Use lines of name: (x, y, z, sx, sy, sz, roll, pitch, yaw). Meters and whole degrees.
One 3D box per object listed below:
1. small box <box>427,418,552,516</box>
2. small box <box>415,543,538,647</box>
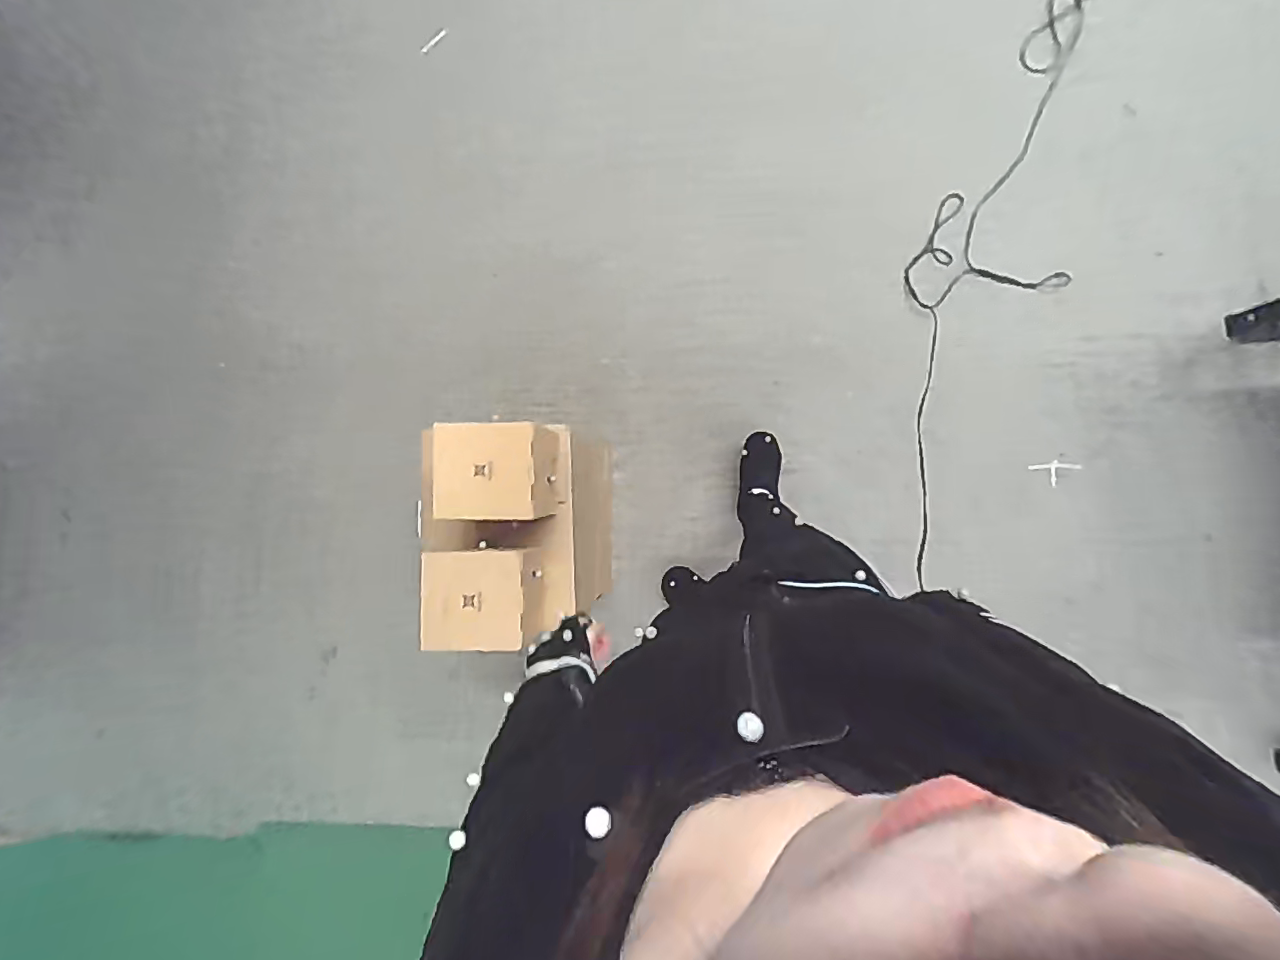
small box: (-0.268, -0.021, 0.989, 0.179, 0.176, 0.168, 0, 90, 4)
small box: (-0.288, 0.201, 0.987, 0.179, 0.176, 0.168, 0, 86, 3)
